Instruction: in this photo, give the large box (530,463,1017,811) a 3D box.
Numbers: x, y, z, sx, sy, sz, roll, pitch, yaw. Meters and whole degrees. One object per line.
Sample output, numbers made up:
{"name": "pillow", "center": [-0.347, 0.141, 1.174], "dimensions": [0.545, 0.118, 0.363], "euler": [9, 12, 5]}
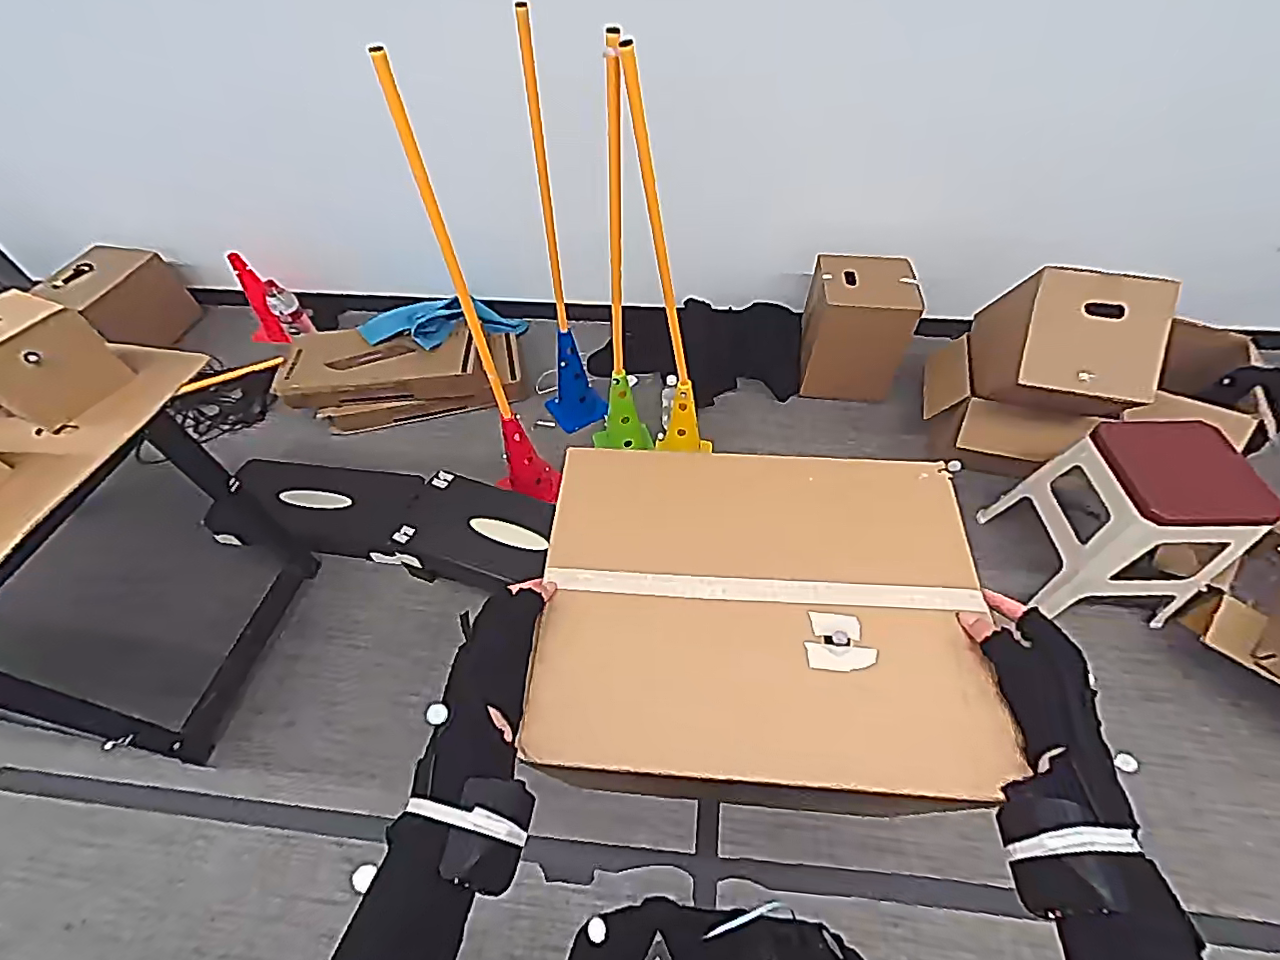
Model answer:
{"name": "large box", "center": [0.116, 0.196, 0.643], "dimensions": [0.408, 0.320, 0.320], "euler": [3, 58, 4]}
